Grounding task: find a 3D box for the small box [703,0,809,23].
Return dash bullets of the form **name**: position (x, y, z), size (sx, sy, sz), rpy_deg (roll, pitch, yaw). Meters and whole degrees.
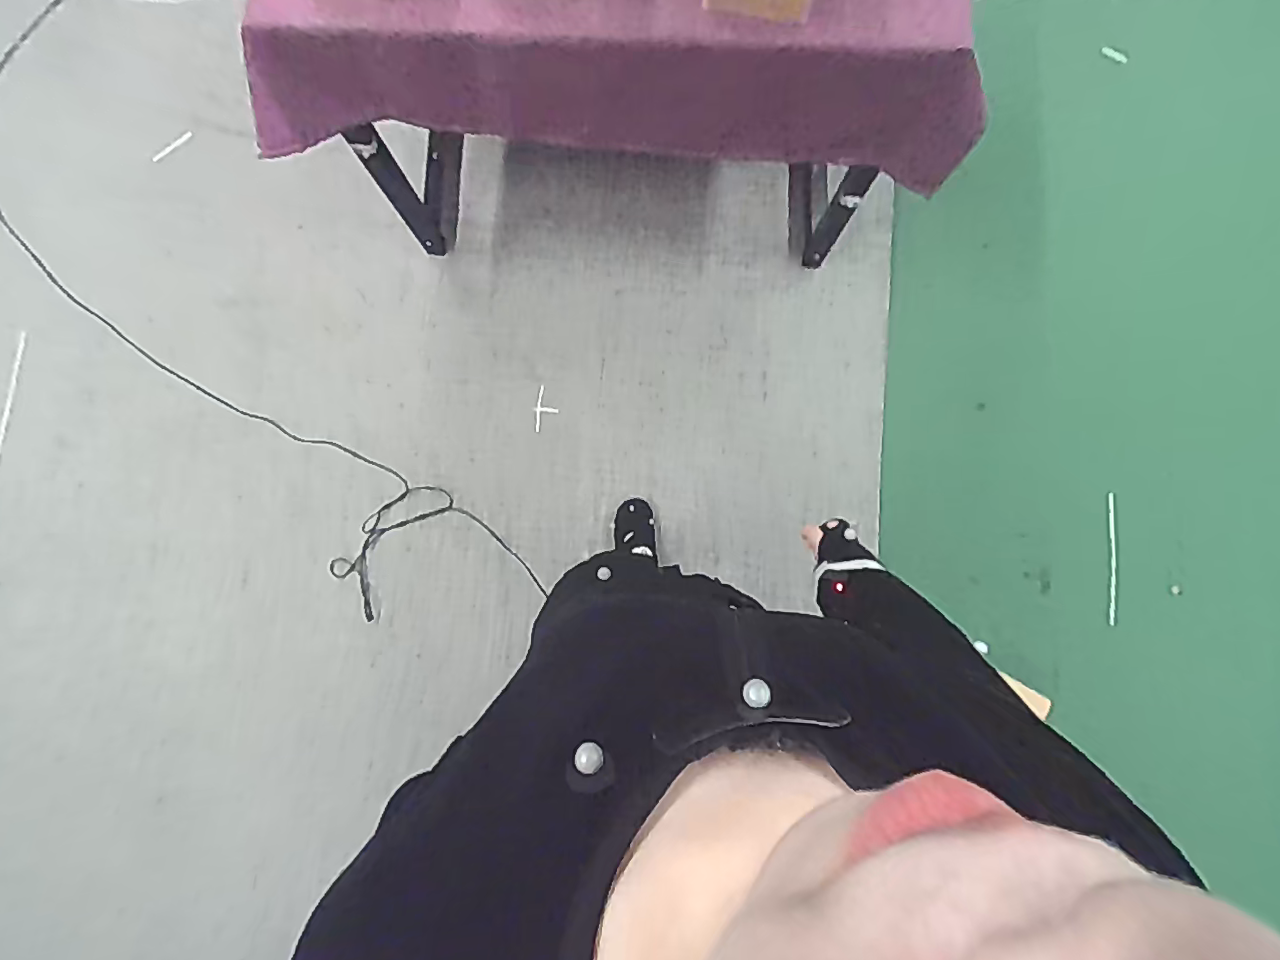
- **small box**: position (0.198, -0.855, 0.829), size (0.179, 0.176, 0.168), rpy_deg (9, 83, 1)
